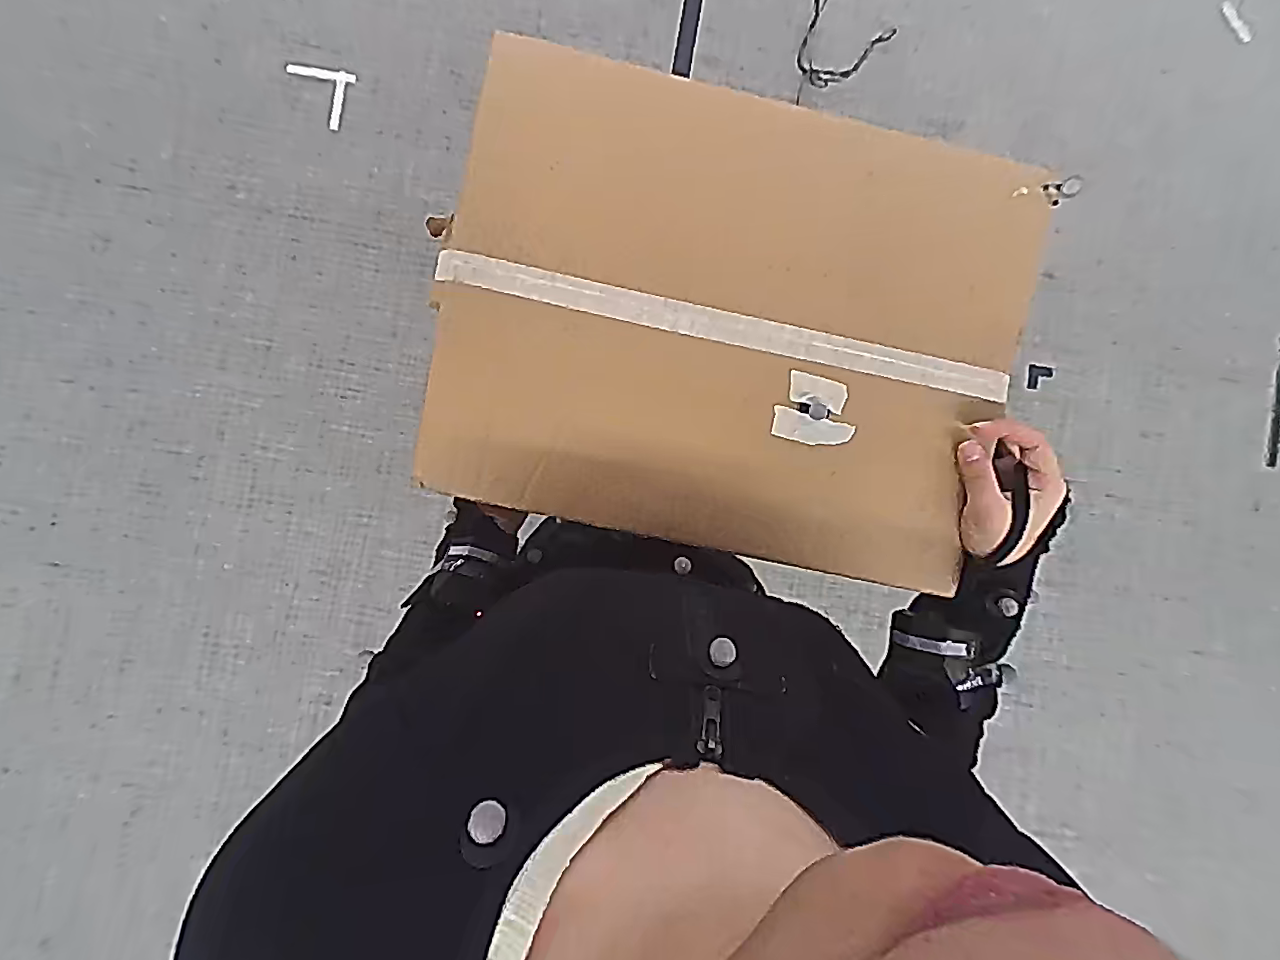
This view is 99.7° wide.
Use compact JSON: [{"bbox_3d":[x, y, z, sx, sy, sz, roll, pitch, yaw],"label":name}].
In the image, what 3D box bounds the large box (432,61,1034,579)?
[{"bbox_3d":[0.060,-0.116,0.540,0.408,0.320,0.320,11,94,-4],"label":"large box"}]
